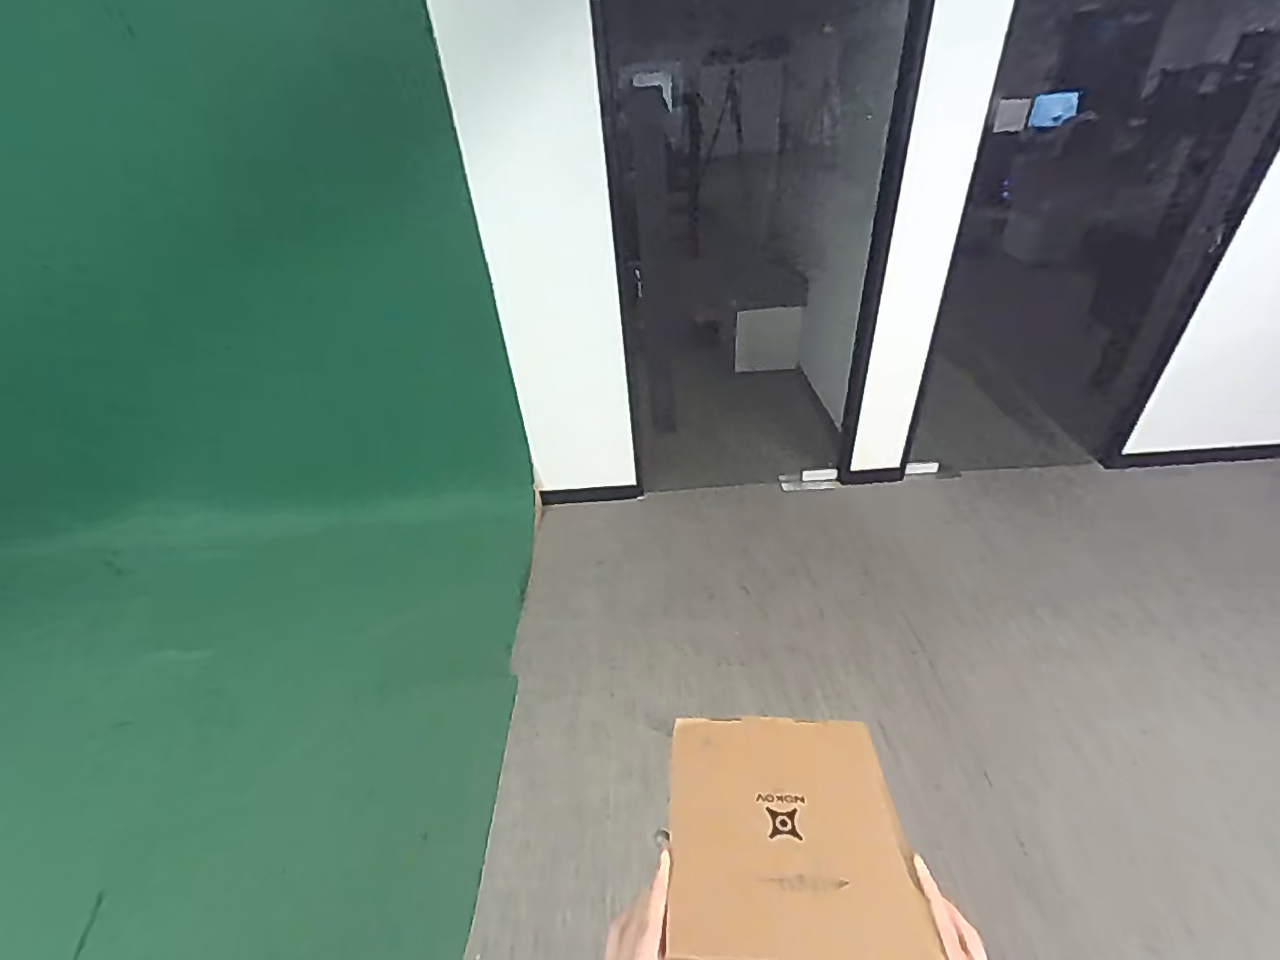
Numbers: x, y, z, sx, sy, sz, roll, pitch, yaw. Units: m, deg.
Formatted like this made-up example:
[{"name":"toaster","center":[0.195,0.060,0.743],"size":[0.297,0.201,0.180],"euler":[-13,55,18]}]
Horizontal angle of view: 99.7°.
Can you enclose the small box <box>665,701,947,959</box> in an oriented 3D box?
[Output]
[{"name":"small box","center":[0.108,0.306,0.427],"size":[0.168,0.176,0.179],"euler":[-1,27,7]}]
